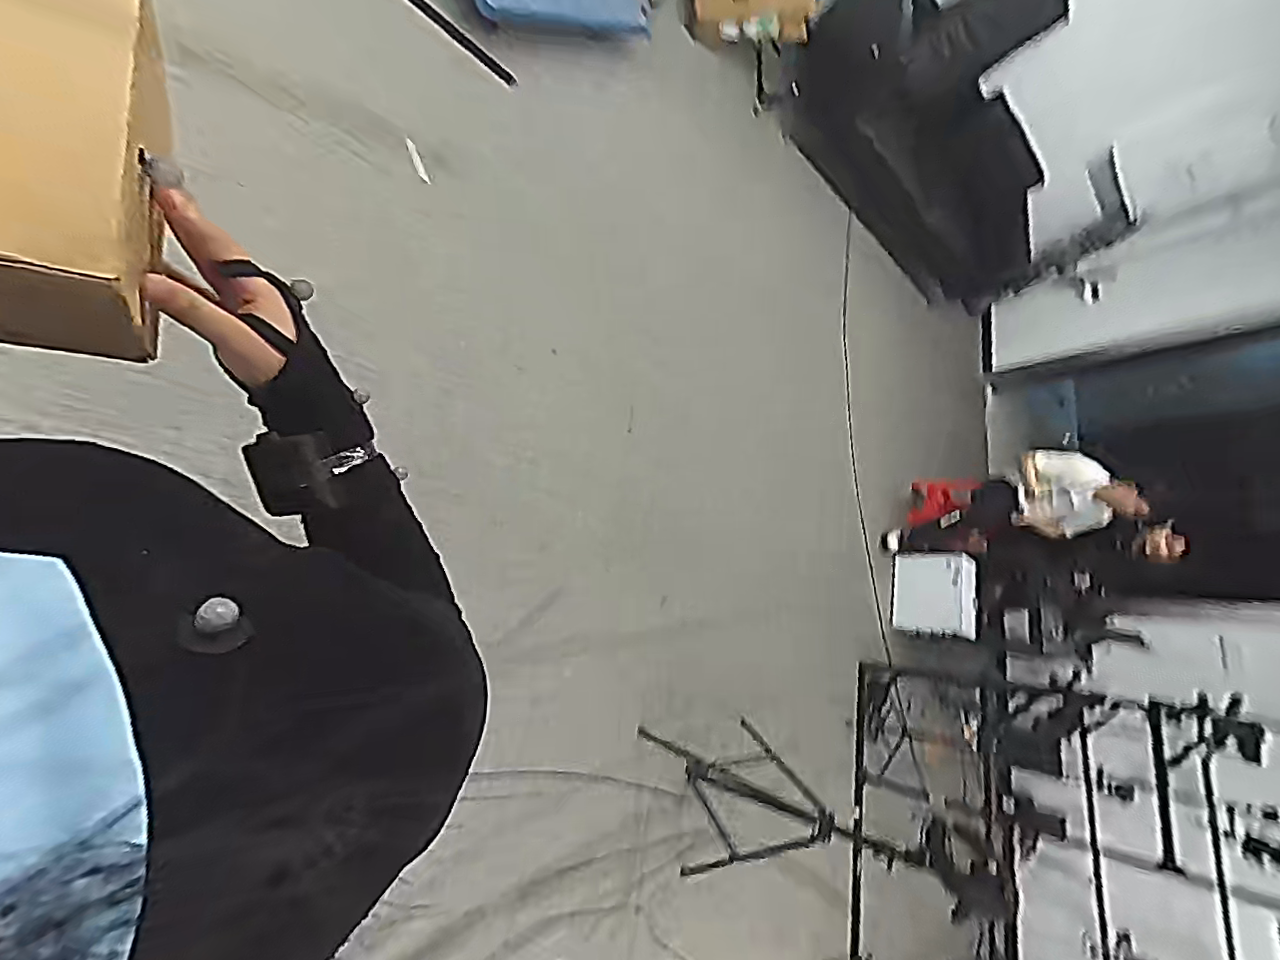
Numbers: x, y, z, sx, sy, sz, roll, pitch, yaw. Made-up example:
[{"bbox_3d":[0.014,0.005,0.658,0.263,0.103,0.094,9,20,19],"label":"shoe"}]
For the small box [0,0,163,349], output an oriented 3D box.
[{"bbox_3d":[-0.355,-0.182,0.269,0.168,0.176,0.179,2,87,-38],"label":"small box"}]
